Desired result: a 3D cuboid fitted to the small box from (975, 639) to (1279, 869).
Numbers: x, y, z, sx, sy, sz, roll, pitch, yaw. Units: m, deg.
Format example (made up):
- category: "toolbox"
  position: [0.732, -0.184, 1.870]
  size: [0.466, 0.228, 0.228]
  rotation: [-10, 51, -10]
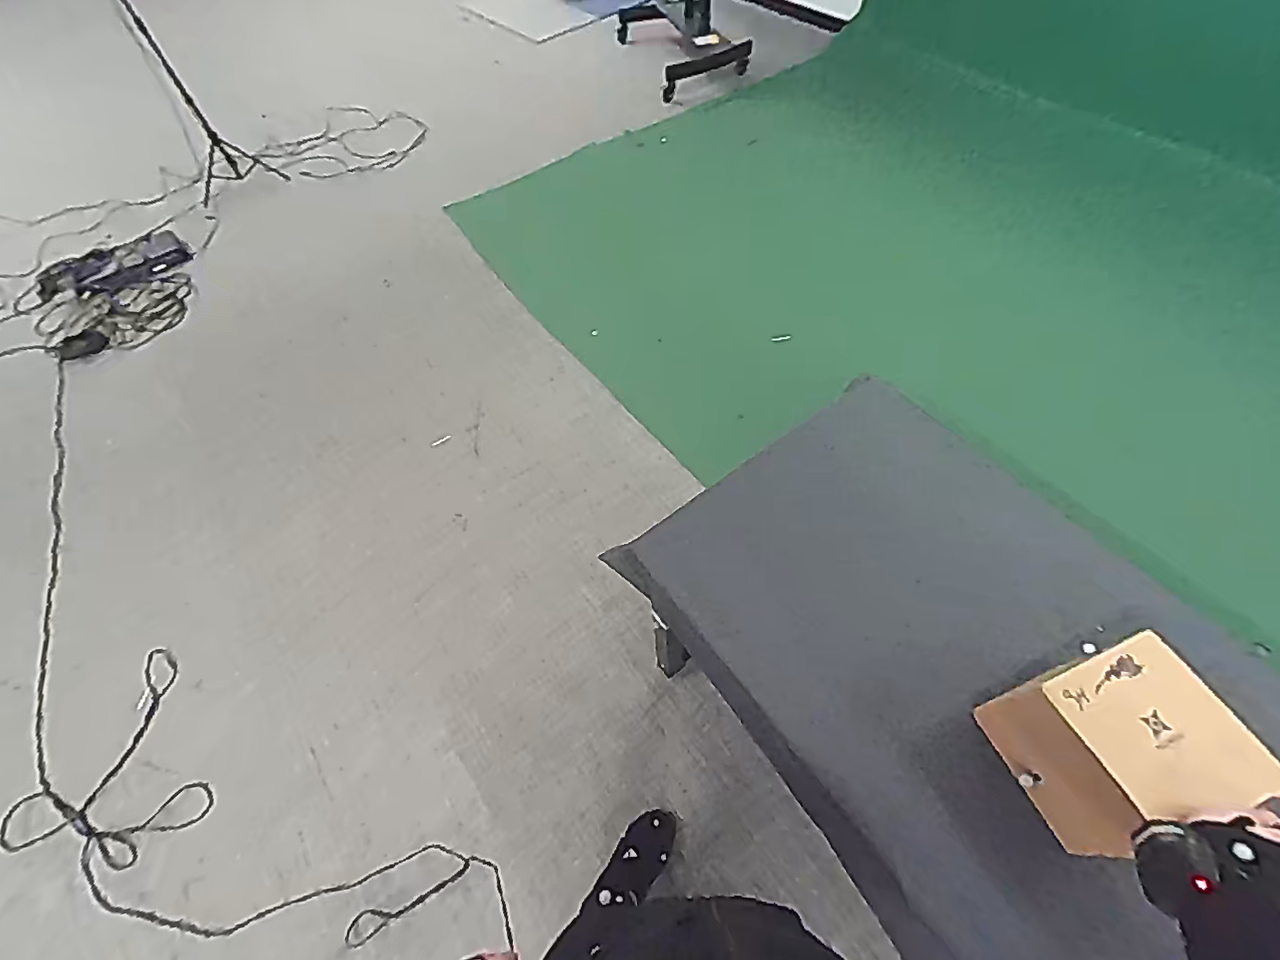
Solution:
- category: "small box"
  position: [0.548, 0.316, 0.631]
  size: [0.168, 0.176, 0.179]
  rotation: [-19, 58, -10]
